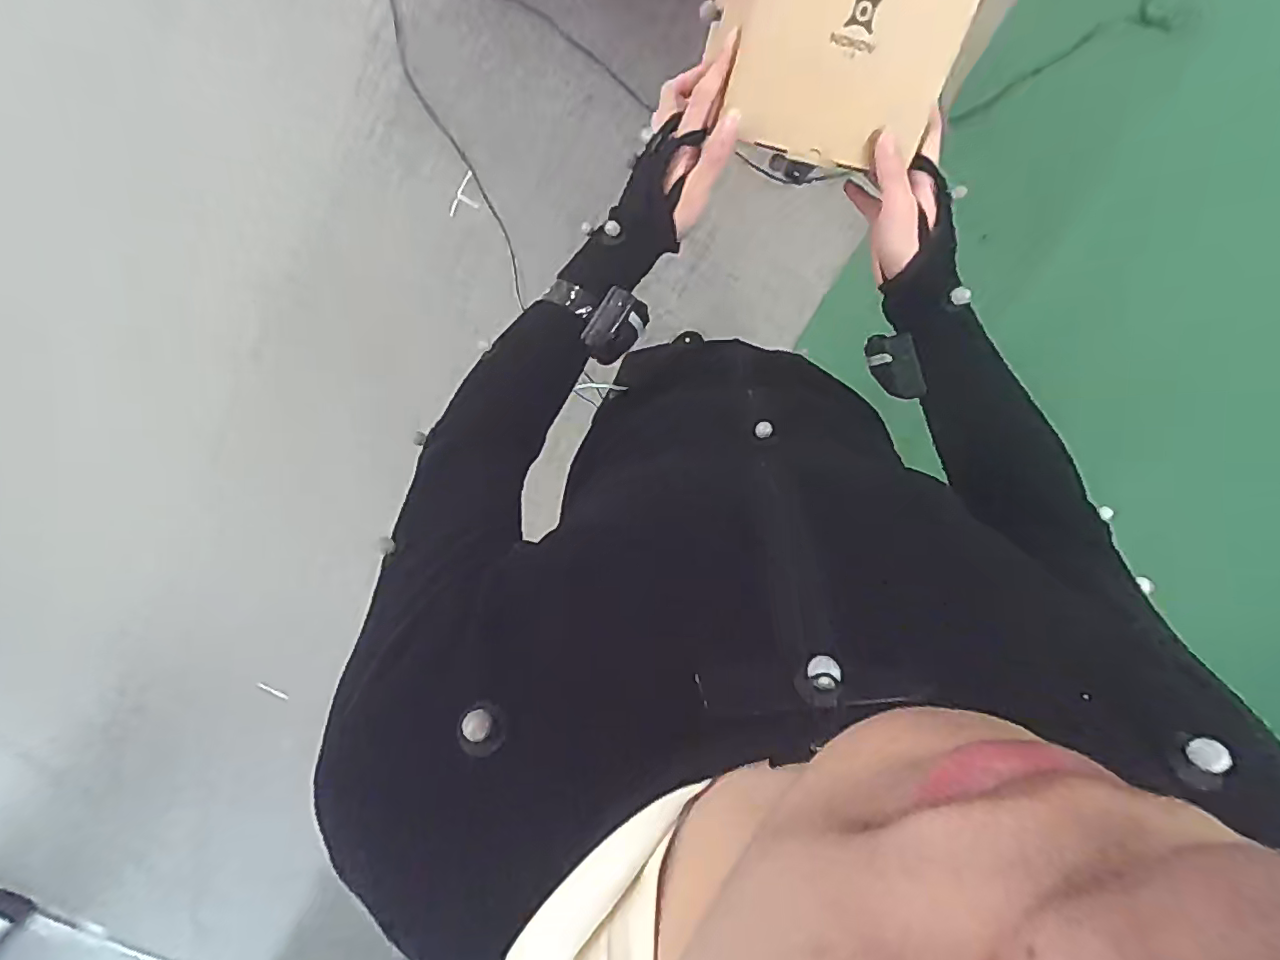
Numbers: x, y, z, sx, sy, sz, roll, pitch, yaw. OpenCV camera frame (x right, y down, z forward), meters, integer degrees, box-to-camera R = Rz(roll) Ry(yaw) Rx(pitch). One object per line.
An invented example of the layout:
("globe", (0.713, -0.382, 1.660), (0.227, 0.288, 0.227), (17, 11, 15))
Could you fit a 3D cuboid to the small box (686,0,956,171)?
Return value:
("small box", (0.140, -0.386, 0.457), (0.168, 0.176, 0.179), (7, 125, -9))
